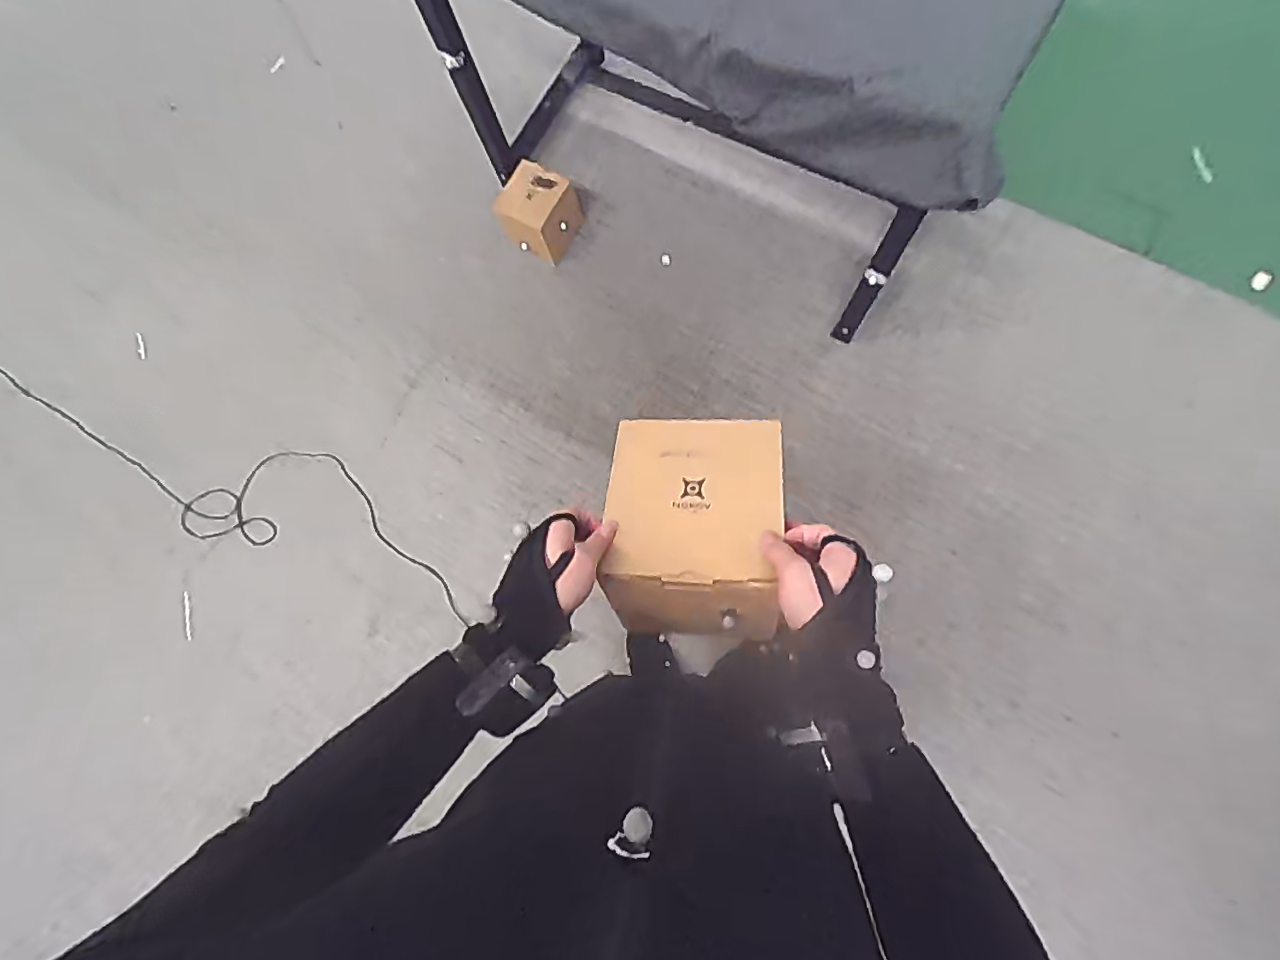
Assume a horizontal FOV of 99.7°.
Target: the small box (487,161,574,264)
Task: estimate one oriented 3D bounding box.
[{"bbox_3d":[-0.309,-0.775,1.579,0.168,0.176,0.179,28,84,11],"label":"small box"}]
